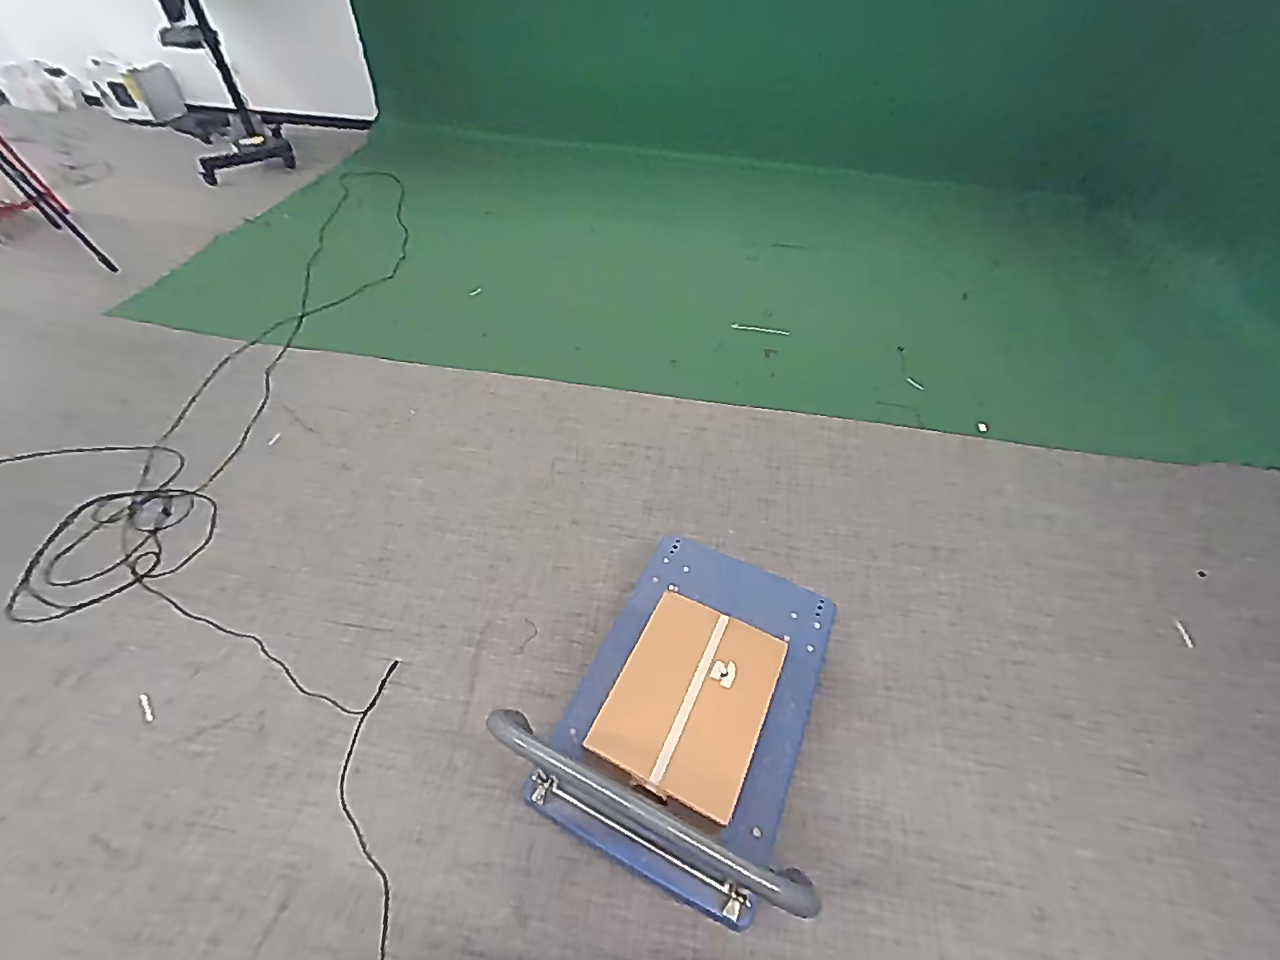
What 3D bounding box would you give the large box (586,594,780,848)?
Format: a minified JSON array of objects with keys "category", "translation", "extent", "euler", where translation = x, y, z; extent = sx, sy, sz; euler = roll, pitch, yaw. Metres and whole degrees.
[{"category":"large box","translation":[0.102,0.562,1.282],"extent":[0.320,0.320,0.408],"euler":[22,50,15]}]
